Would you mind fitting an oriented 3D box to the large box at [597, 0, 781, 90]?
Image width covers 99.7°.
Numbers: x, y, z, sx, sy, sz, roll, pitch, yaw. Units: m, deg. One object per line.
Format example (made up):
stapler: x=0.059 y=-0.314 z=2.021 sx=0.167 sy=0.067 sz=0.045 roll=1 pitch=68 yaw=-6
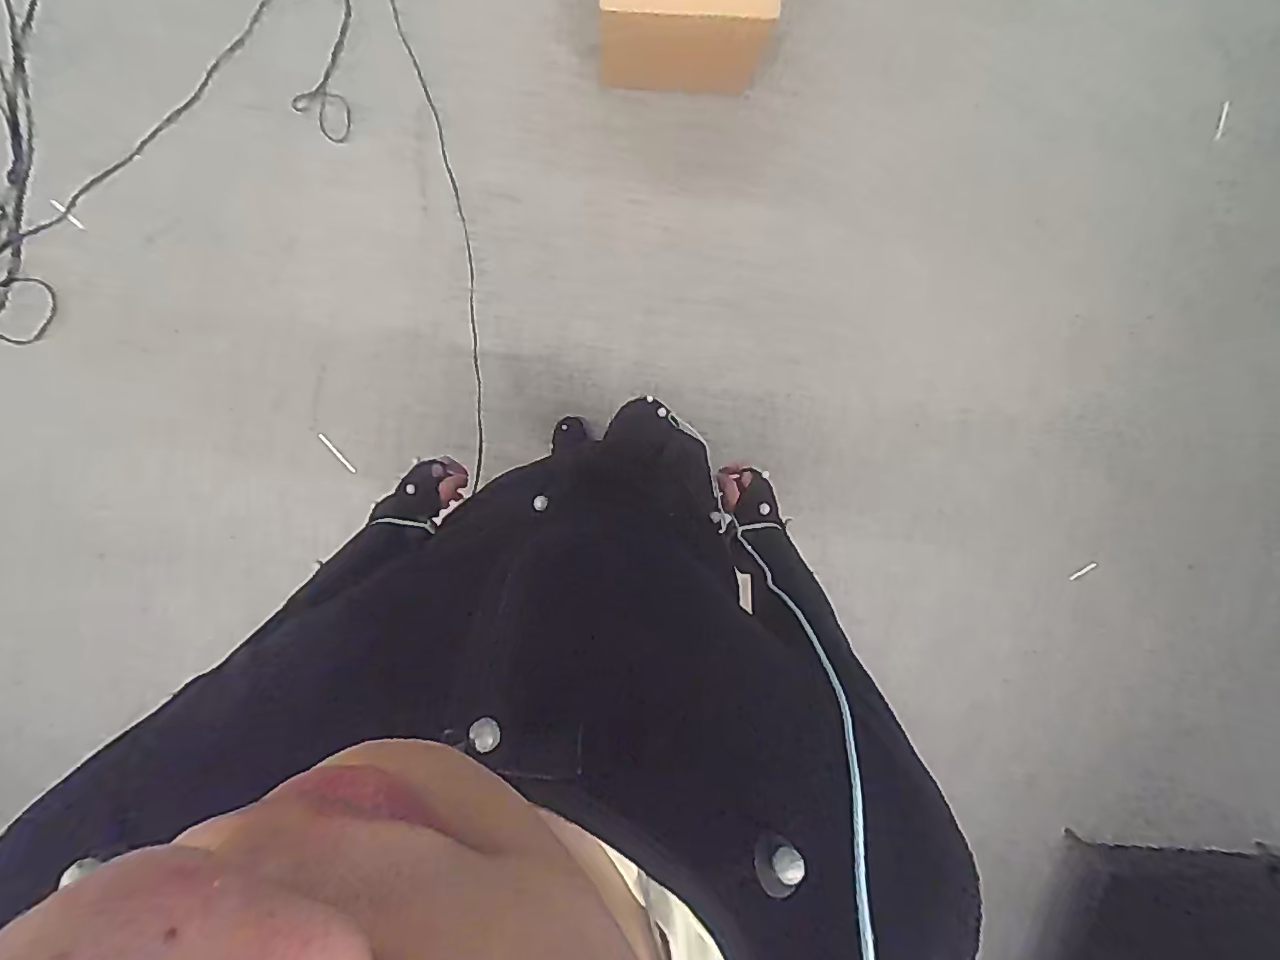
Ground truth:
large box: x=0.099 y=-1.197 z=1.311 sx=0.408 sy=0.320 sz=0.320 roll=-1 pitch=100 yaw=-5
